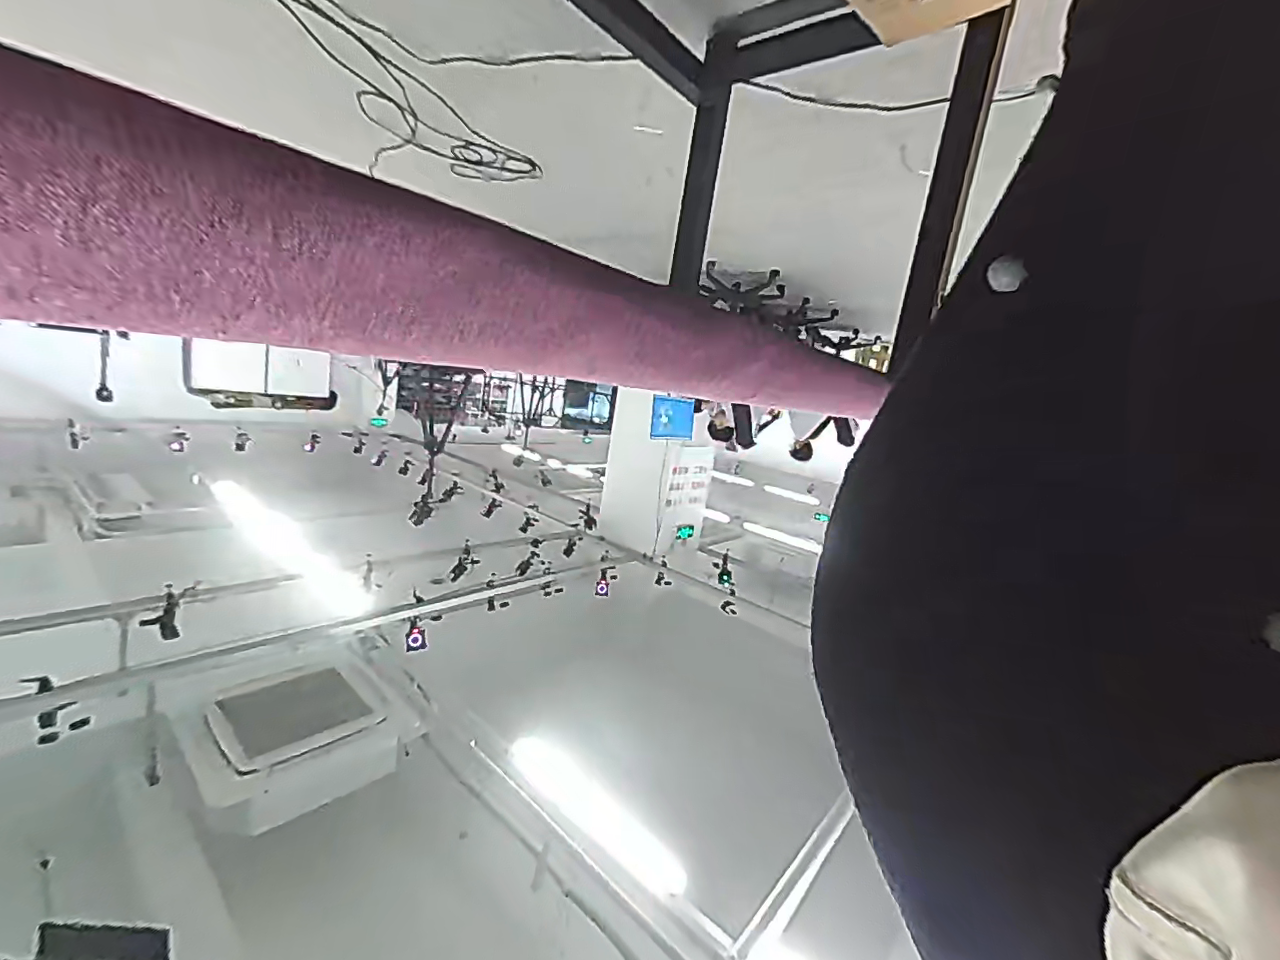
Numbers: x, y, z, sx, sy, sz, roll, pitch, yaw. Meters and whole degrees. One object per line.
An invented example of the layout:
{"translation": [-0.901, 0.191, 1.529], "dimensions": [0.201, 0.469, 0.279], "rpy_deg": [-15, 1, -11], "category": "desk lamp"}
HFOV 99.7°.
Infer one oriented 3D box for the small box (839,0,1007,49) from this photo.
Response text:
{"translation": [0.384, -0.729, 0.711], "dimensions": [0.168, 0.176, 0.179], "rpy_deg": [0, -166, -42], "category": "small box"}
